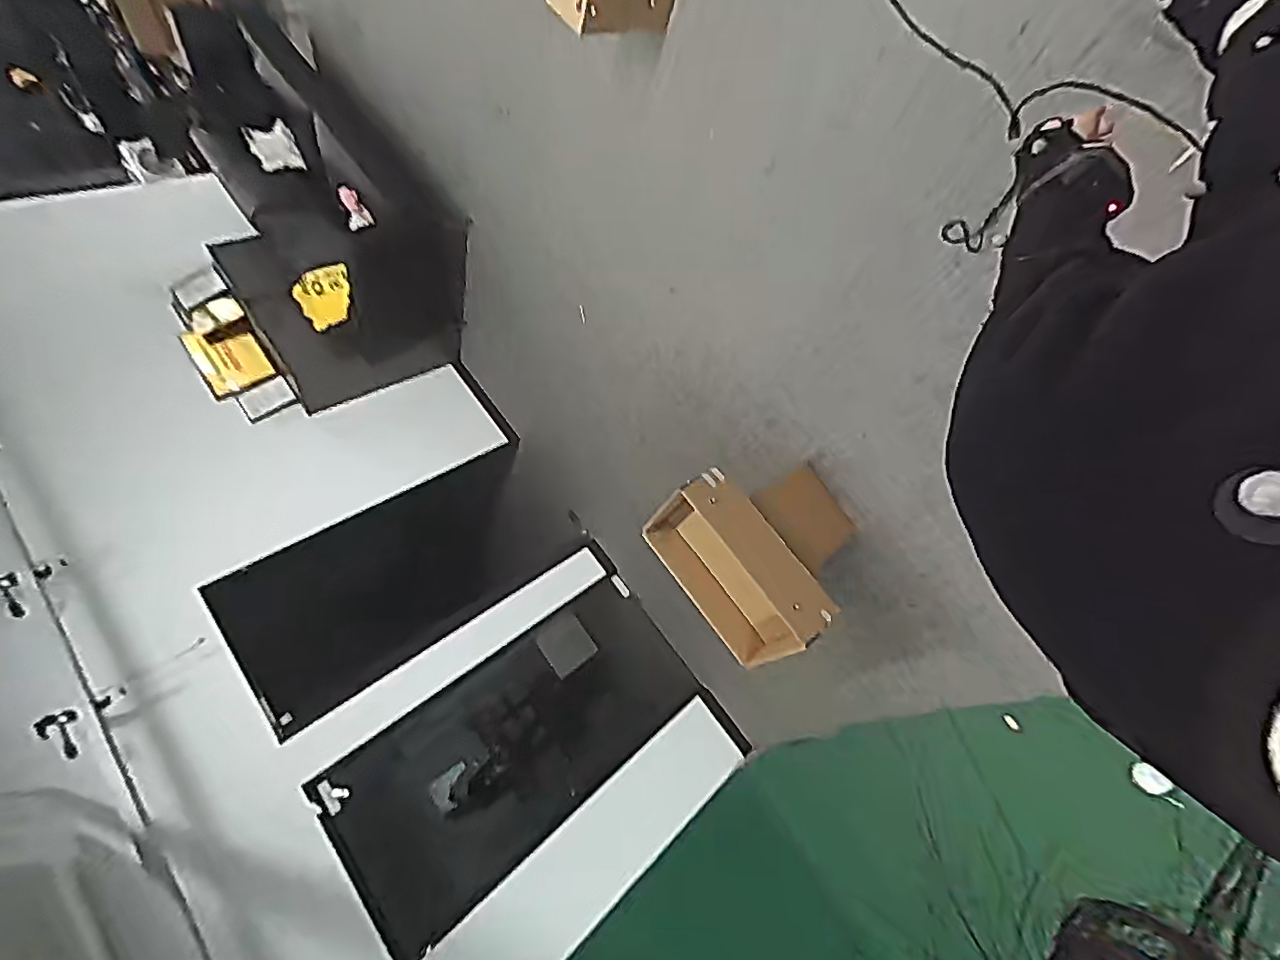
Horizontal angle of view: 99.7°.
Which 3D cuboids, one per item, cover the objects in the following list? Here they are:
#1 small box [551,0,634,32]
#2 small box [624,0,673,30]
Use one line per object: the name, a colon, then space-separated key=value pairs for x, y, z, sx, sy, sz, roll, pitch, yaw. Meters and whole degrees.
small box: x=-0.126 y=-1.367 z=1.477 sx=0.179 sy=0.176 sz=0.168 roll=53 pitch=150 yaw=12
small box: x=-0.004 y=-1.444 z=1.555 sx=0.168 sy=0.176 sz=0.179 roll=52 pitch=150 yaw=13
